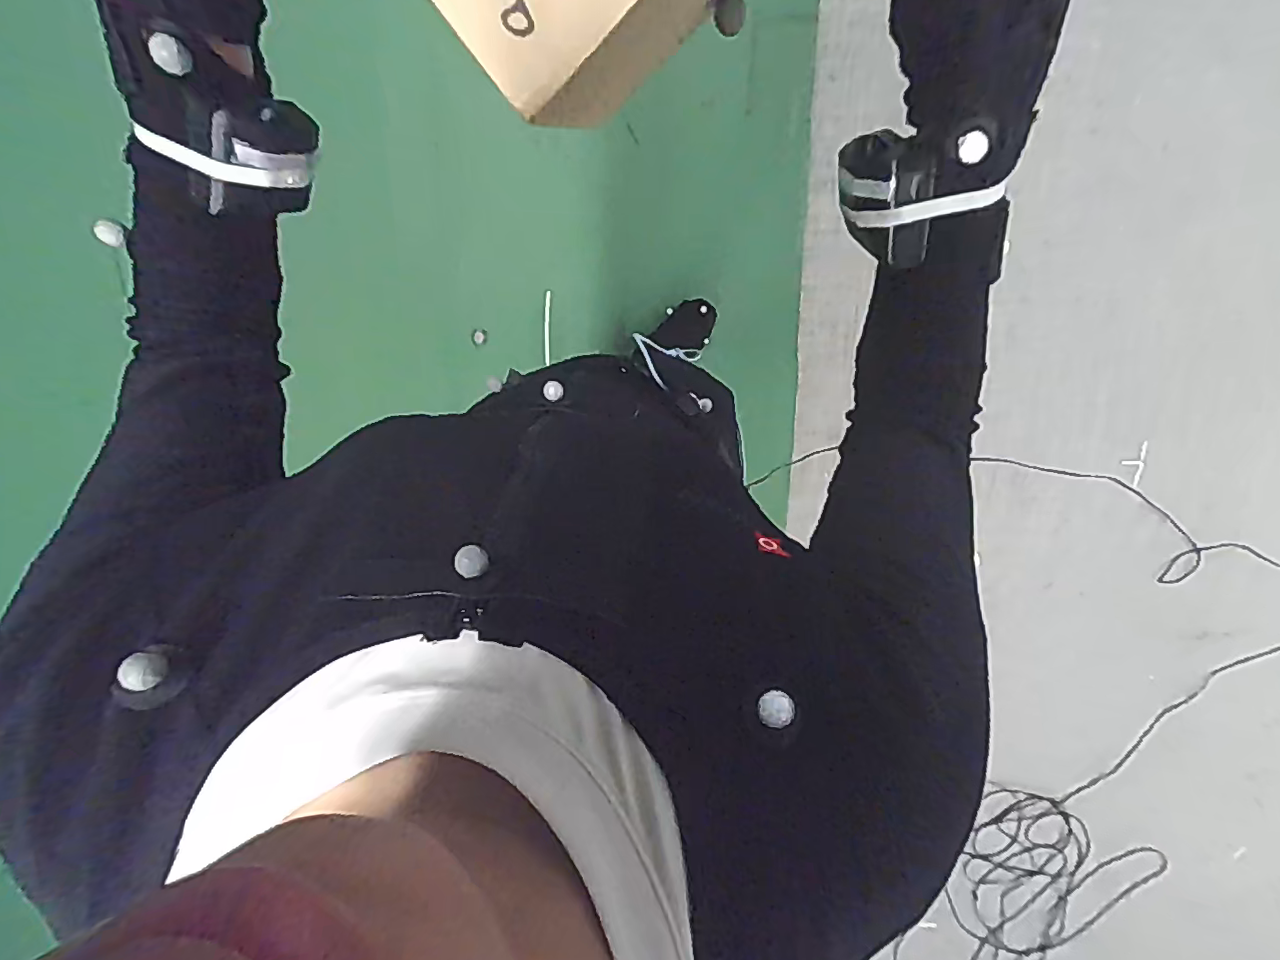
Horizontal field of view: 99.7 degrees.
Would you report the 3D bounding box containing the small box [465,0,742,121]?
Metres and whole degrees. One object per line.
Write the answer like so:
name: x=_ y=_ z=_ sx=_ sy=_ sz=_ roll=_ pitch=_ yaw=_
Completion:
small box: x=-0.010 y=-0.274 z=0.204 sx=0.179 sy=0.176 sz=0.168 roll=-32 pitch=114 yaw=23
